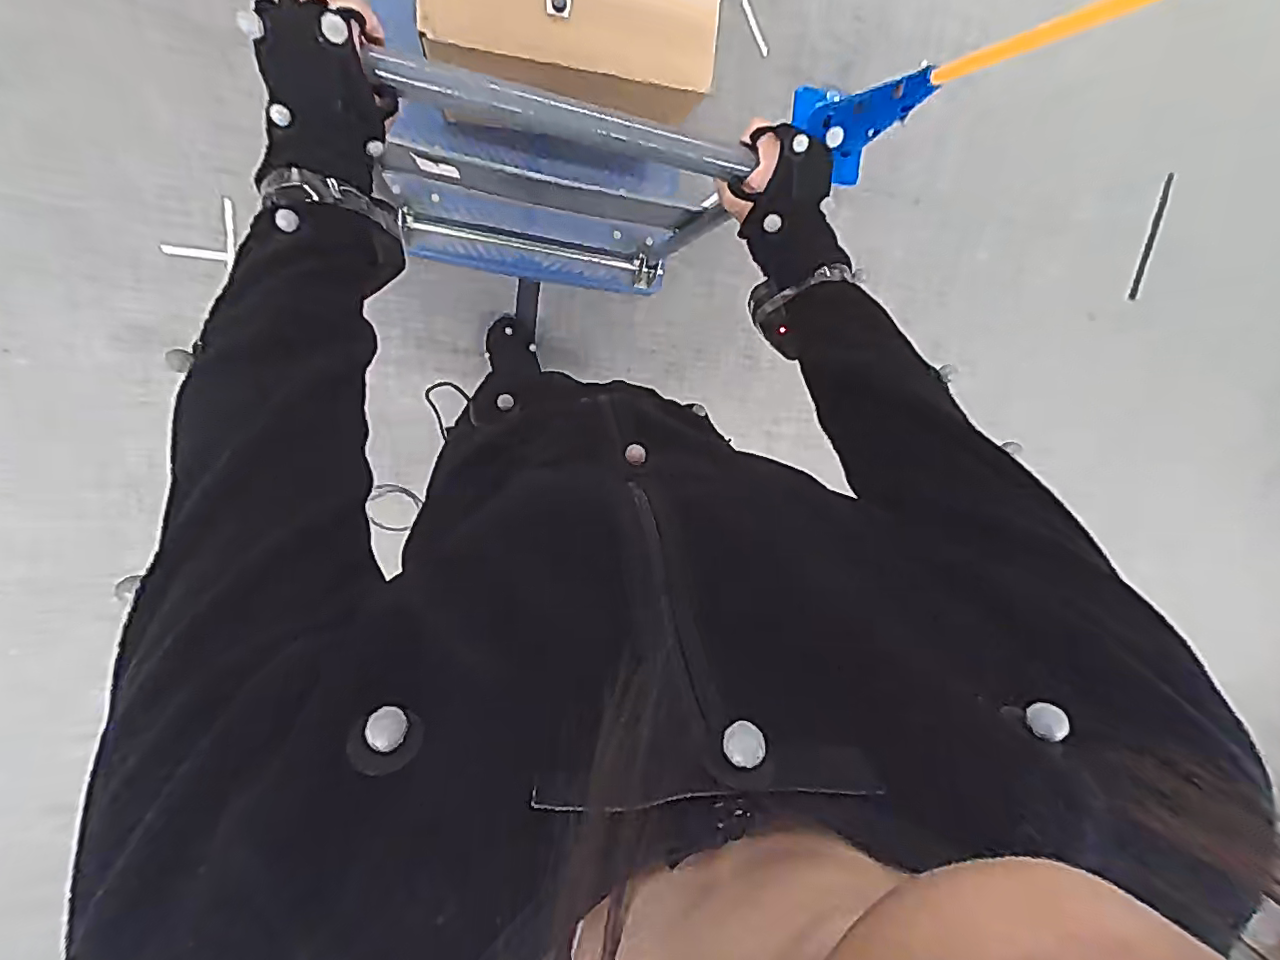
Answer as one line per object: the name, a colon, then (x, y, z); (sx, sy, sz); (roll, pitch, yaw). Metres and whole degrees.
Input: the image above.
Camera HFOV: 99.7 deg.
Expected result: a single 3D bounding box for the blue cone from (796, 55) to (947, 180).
blue cone: (0.515, -0.812, 1.186); (0.193, 0.380, 0.192); (0, 105, -15)
